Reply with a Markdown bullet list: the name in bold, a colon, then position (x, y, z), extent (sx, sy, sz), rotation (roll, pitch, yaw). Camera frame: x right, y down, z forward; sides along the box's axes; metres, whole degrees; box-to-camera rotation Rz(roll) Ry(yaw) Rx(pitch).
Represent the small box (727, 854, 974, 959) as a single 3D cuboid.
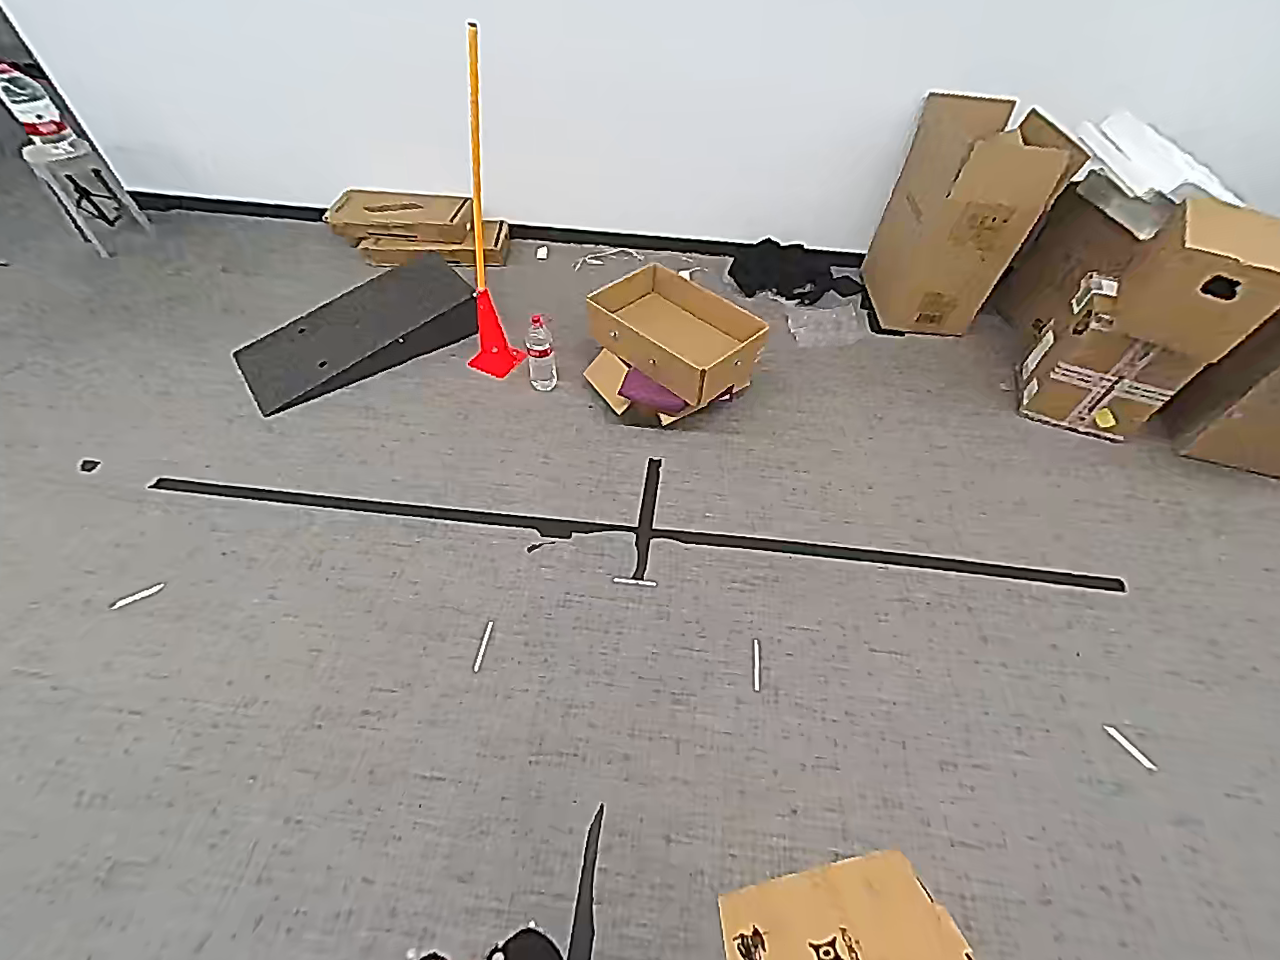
- **small box**: position (0.182, 0.450, 0.427), extent (0.179, 0.168, 0.176), rotation (-15, 90, 2)
